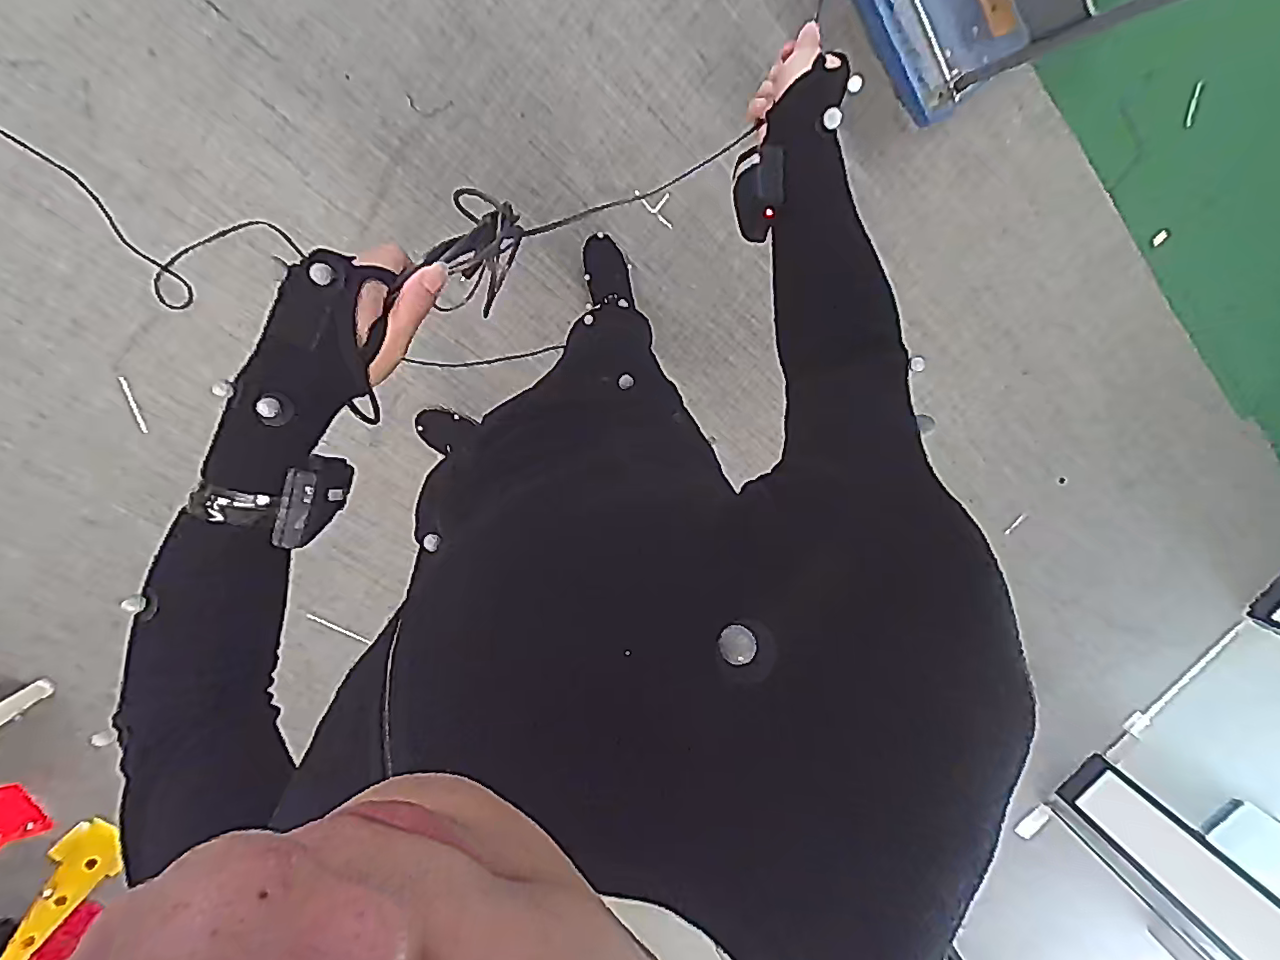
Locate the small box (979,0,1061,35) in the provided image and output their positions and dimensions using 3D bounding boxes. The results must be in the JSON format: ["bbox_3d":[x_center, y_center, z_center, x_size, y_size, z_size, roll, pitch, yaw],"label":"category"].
[{"bbox_3d":[0.879,-1.141,1.184,0.179,0.176,0.168,-39,112,4],"label":"small box"}]
